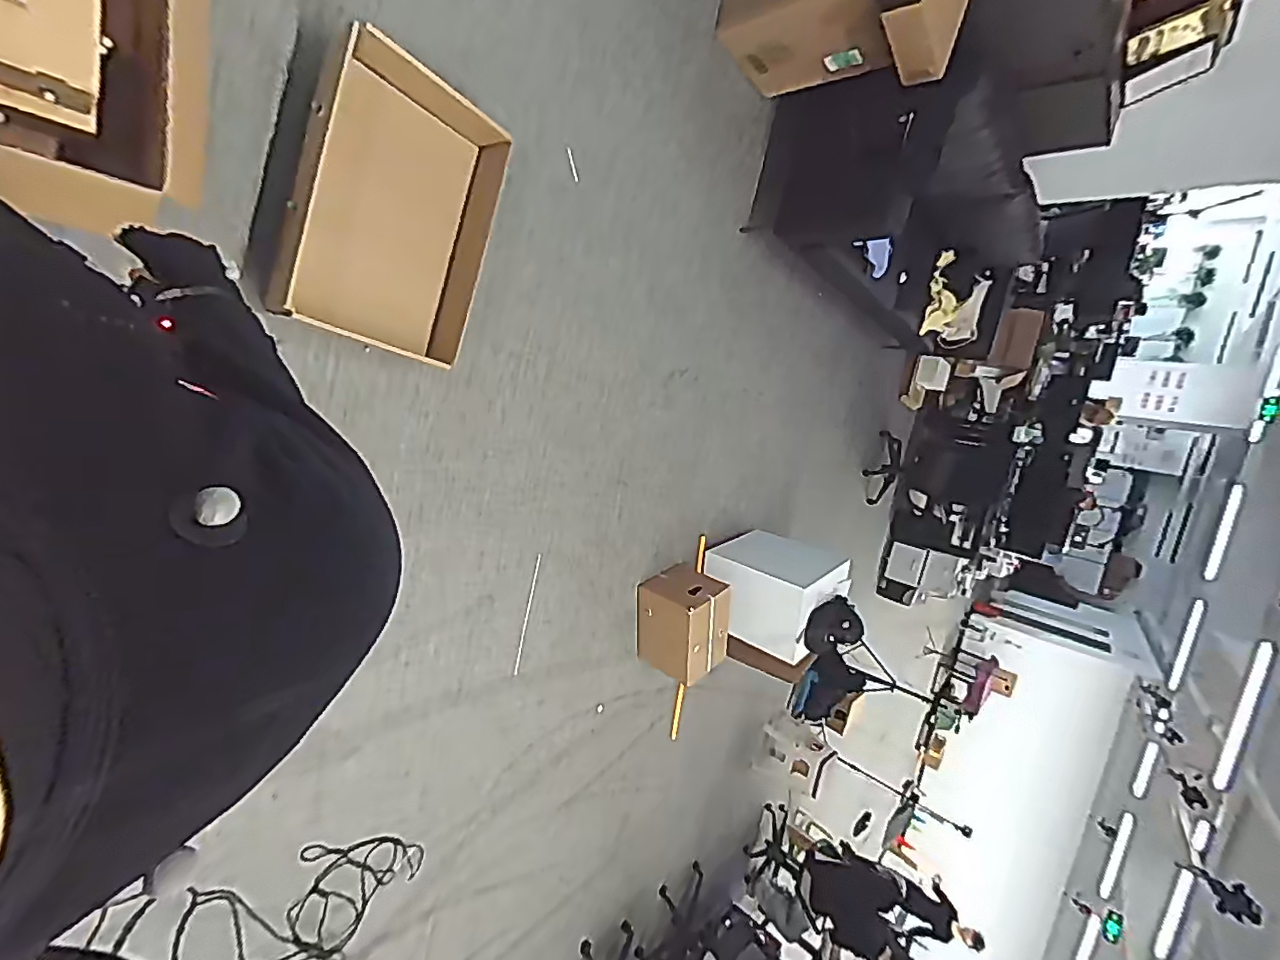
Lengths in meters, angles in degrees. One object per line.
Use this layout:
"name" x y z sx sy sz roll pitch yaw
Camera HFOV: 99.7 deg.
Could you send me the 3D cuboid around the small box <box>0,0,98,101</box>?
"small box" -0.846 -0.645 0.720 0.168 0.176 0.179 -1 106 -50
